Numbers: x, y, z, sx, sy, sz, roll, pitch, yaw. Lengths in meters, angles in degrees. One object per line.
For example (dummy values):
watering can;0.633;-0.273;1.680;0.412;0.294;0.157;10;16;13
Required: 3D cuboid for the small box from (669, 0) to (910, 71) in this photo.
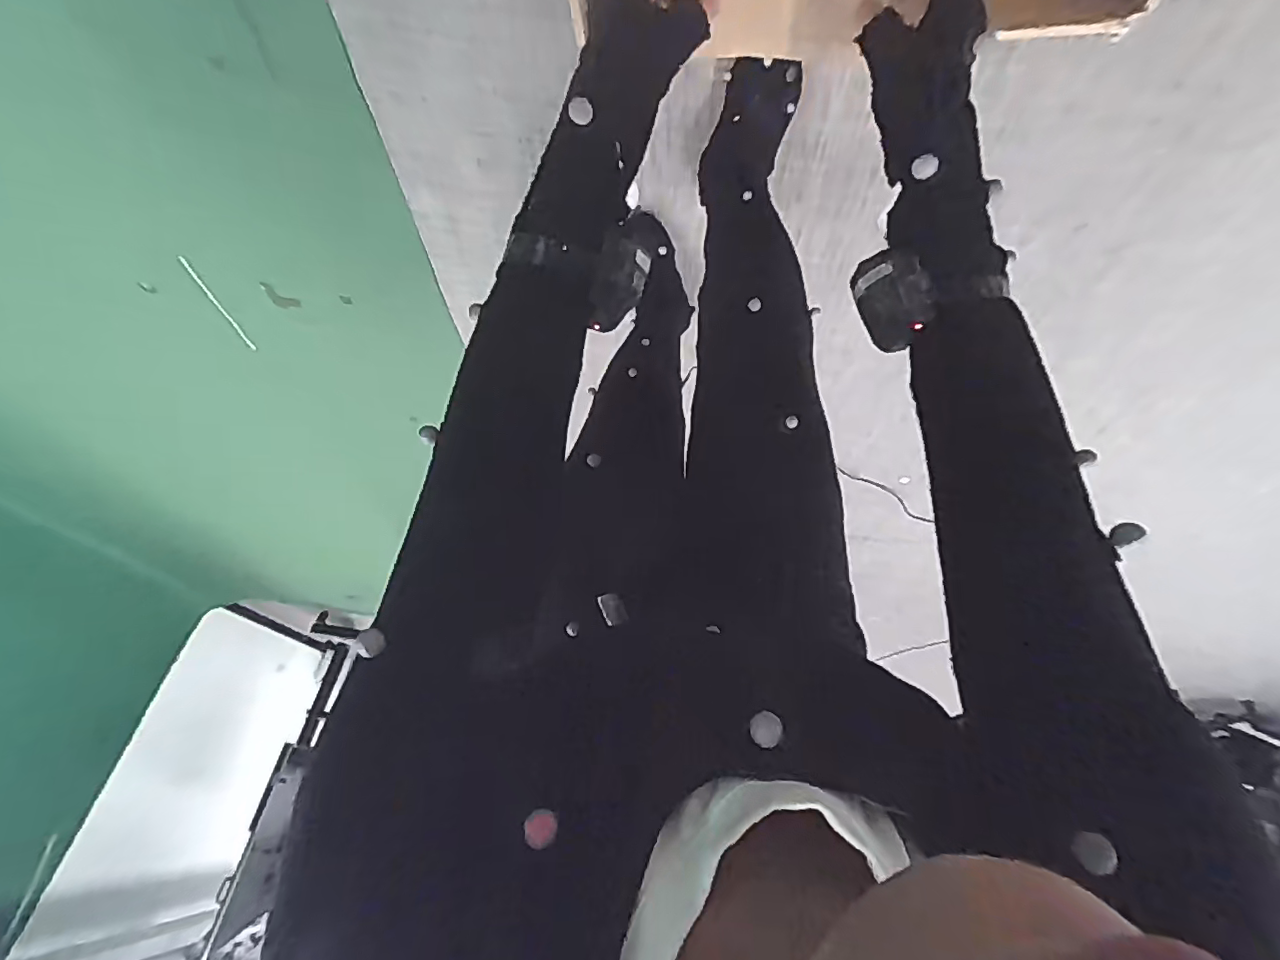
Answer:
small box;0.117;-0.444;0.395;0.179;0.176;0.168;3;157;-1
